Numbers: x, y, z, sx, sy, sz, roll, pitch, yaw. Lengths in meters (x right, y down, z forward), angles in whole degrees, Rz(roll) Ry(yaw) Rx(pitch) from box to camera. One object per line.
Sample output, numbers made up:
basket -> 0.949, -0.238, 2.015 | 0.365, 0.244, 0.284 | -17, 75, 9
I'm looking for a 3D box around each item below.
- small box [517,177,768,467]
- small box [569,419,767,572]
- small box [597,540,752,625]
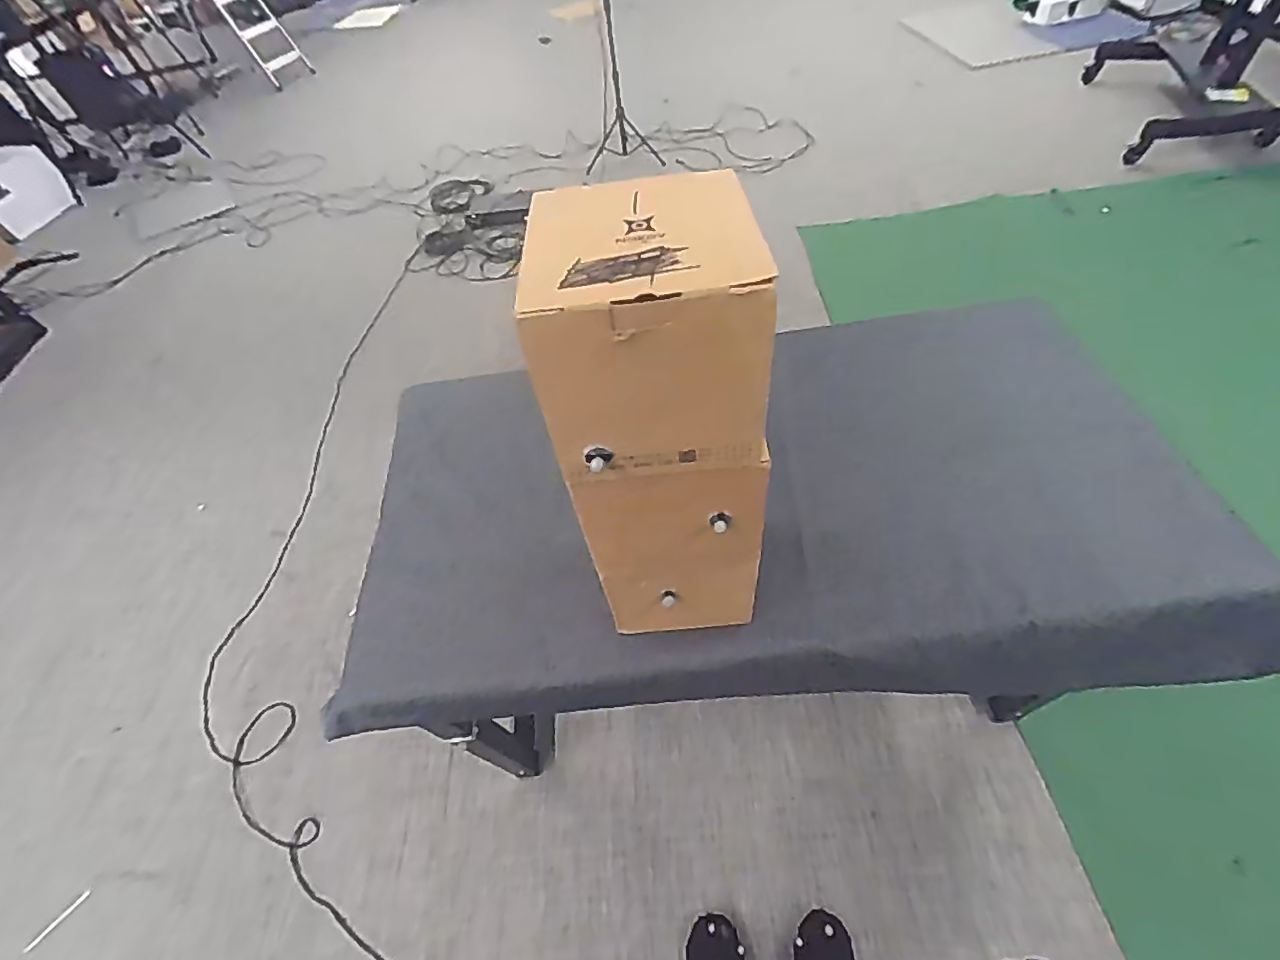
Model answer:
small box -> 0.007, -0.124, 0.455 | 0.168, 0.176, 0.179 | -5, 49, 2
small box -> 0.029, -0.017, 0.579 | 0.179, 0.176, 0.168 | -7, 50, 4
small box -> 0.046, 0.079, 0.707 | 0.179, 0.176, 0.168 | -6, 52, 4
